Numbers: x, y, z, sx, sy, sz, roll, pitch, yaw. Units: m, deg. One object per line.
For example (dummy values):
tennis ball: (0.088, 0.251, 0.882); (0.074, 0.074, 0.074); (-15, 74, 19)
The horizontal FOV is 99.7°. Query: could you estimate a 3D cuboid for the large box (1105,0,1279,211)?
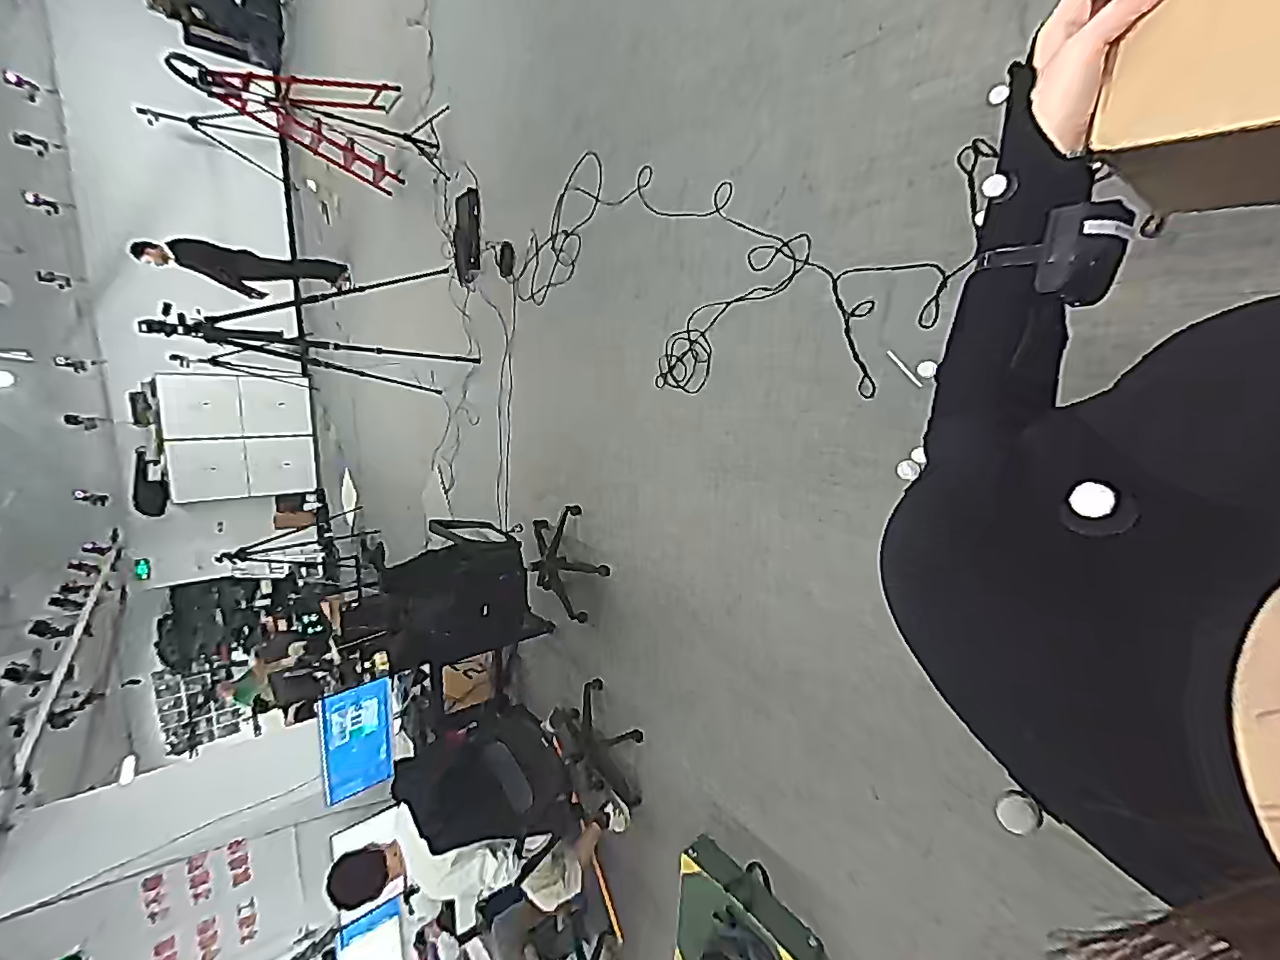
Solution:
large box: (0.565, -0.367, 0.297); (0.408, 0.320, 0.320); (17, 113, 45)
